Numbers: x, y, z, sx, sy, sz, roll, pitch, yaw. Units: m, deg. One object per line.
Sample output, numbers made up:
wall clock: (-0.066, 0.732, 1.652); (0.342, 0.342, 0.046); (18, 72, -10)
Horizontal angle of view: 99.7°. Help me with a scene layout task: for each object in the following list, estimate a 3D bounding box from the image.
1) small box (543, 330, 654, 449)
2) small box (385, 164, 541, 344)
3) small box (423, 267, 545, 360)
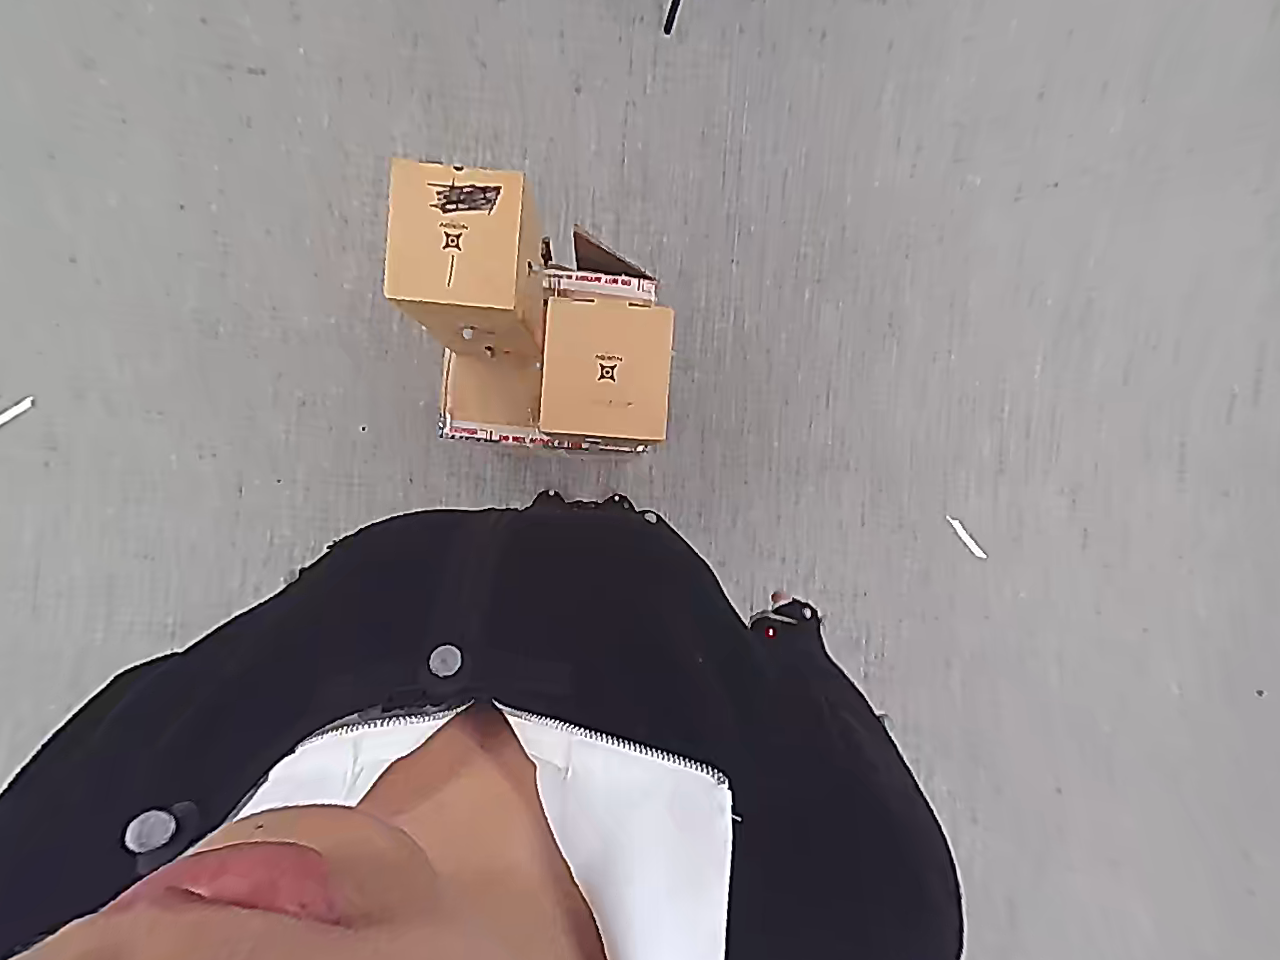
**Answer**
small box: (-0.071, -0.147, 0.938); (0.168, 0.176, 0.179); (4, 91, -5)
small box: (-0.235, -0.303, 0.759); (0.168, 0.176, 0.179); (5, 92, -2)
small box: (-0.258, -0.312, 0.923); (0.168, 0.176, 0.179); (1, 92, -2)
